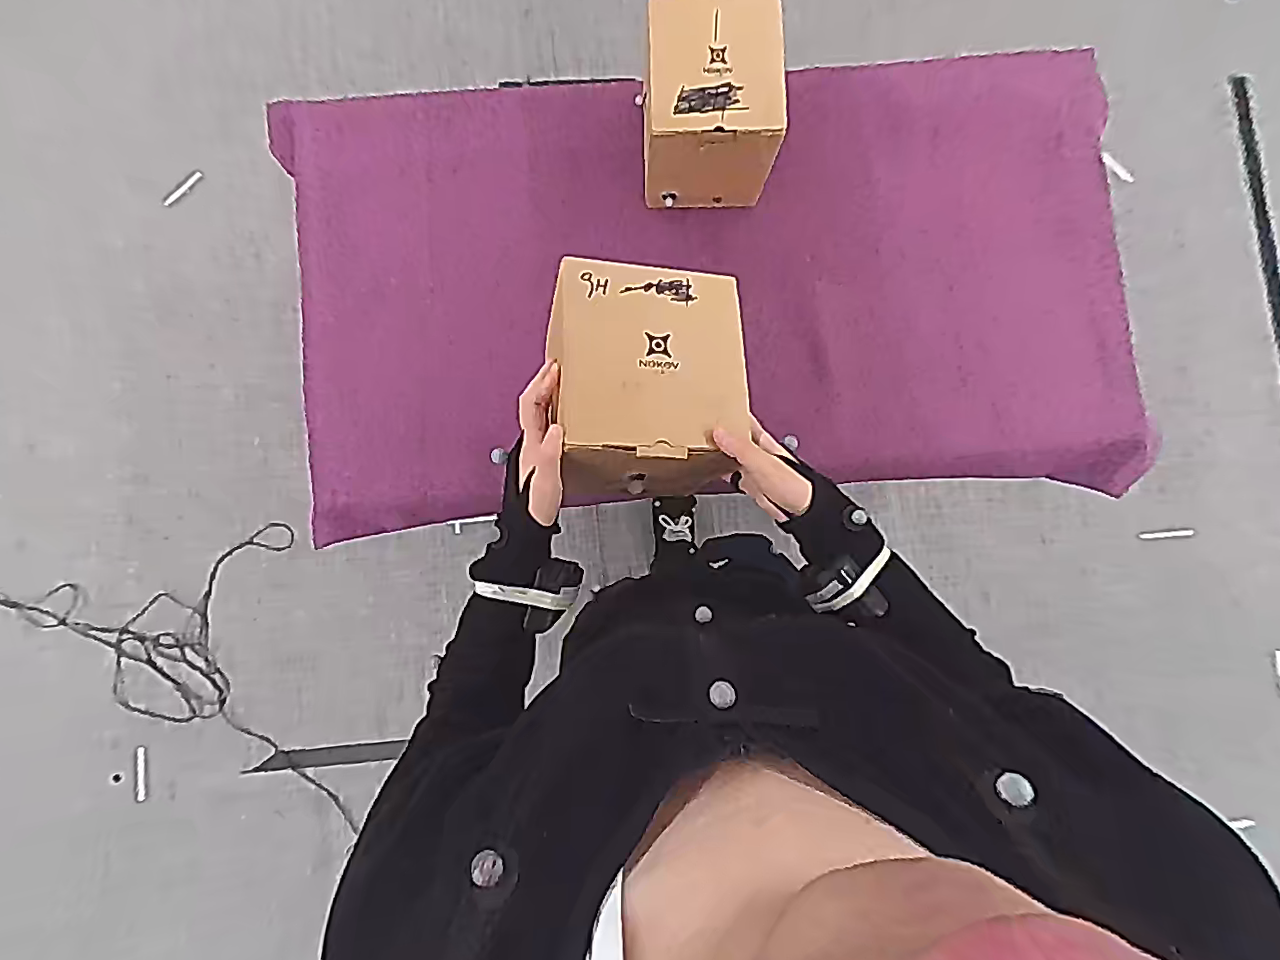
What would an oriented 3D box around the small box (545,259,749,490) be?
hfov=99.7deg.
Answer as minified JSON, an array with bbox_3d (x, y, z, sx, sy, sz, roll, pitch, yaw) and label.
[{"bbox_3d":[-0.005,-0.089,0.546,0.168,0.176,0.179,1,76,-15],"label":"small box"}]

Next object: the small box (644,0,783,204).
[{"bbox_3d":[0.092,-0.505,0.744,0.168,0.176,0.179,-1,86,-2],"label":"small box"}]
